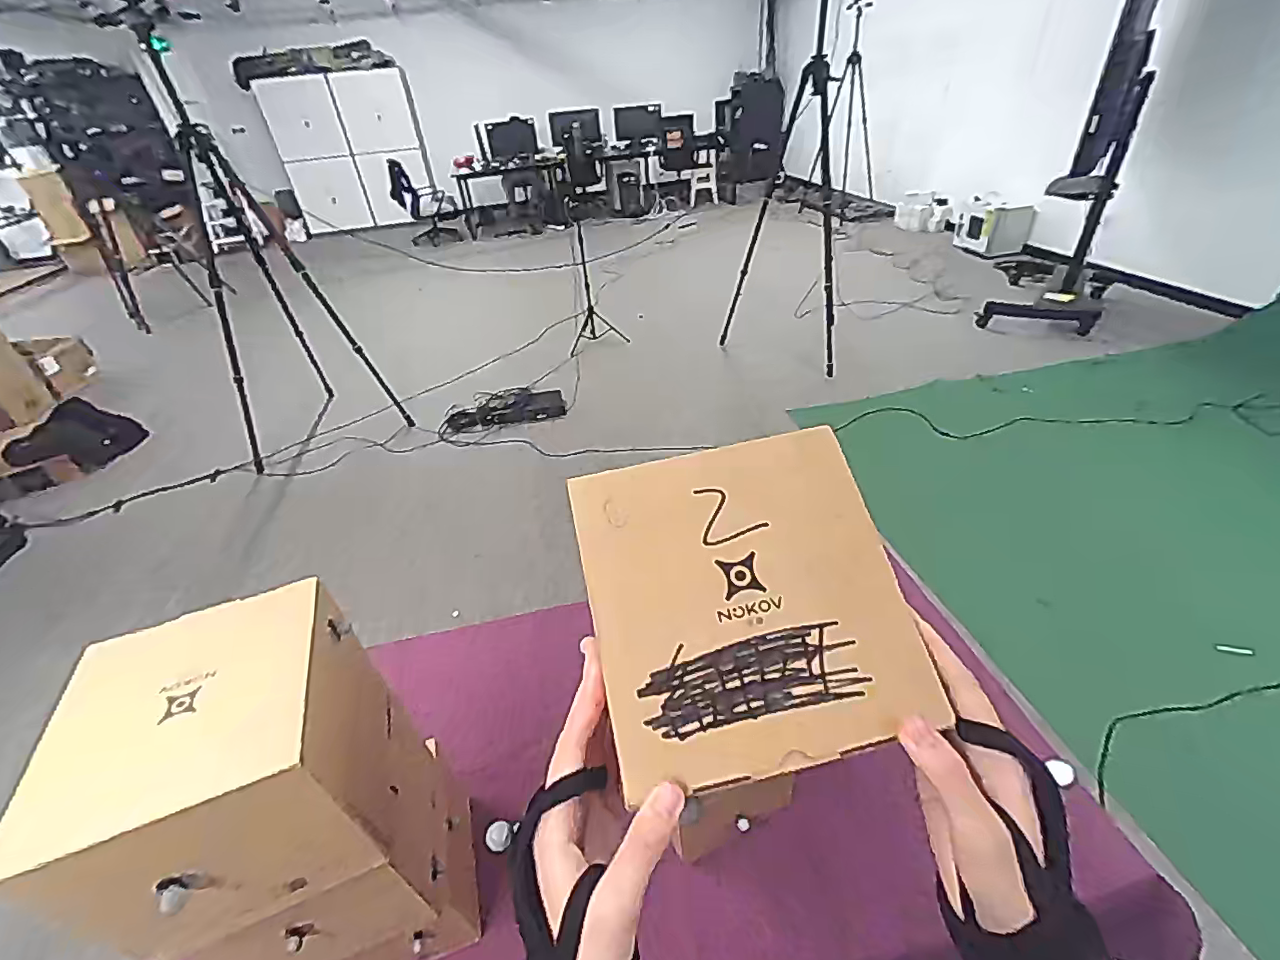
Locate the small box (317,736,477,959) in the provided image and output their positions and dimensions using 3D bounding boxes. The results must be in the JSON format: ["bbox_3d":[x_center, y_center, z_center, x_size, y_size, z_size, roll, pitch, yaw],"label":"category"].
[{"bbox_3d":[-0.301,0.454,0.649,0.168,0.176,0.179,-14,37,-12],"label":"small box"}]

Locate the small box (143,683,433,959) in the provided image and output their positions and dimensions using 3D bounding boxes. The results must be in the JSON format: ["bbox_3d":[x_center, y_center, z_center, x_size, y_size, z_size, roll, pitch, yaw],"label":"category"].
[{"bbox_3d":[-0.311,0.339,0.530,0.179,0.176,0.168,-15,38,-12],"label":"small box"}]

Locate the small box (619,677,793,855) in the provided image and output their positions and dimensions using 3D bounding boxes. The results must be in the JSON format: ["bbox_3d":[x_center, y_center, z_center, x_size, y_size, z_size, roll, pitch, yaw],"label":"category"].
[{"bbox_3d":[0.084,0.350,0.725,0.168,0.176,0.179,-19,39,-16],"label":"small box"}]

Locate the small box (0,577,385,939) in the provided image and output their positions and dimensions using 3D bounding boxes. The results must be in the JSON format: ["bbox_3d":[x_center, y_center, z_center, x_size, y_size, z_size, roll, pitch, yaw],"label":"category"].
[{"bbox_3d":[-0.313,0.214,0.424,0.168,0.176,0.179,-17,38,-15],"label":"small box"}]

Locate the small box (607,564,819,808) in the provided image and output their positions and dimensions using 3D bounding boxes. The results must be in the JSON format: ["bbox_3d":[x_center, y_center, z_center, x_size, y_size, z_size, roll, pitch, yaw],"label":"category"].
[{"bbox_3d":[0.077,0.230,0.611,0.179,0.176,0.168,-16,39,-12],"label":"small box"}]
